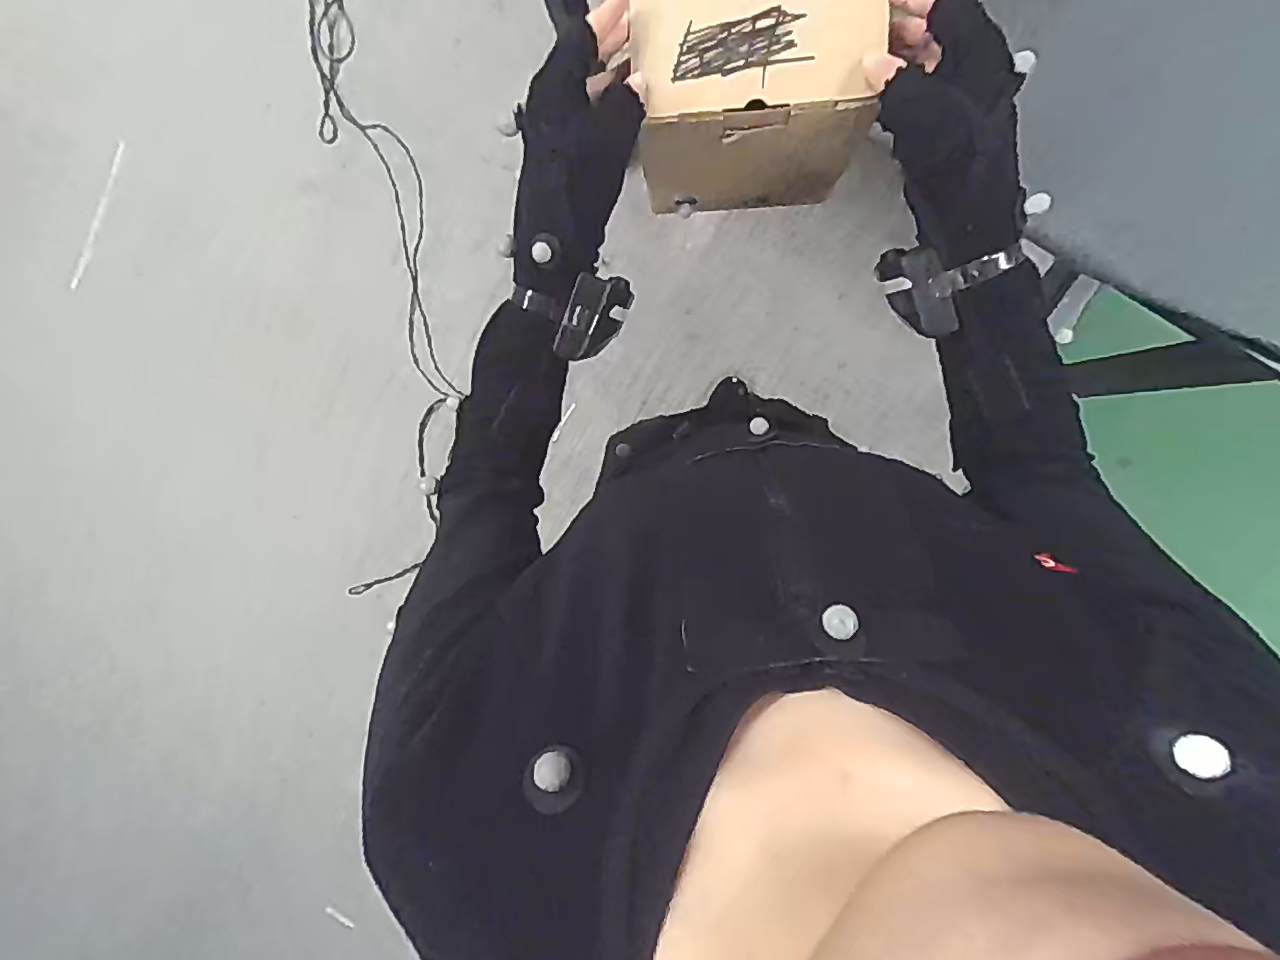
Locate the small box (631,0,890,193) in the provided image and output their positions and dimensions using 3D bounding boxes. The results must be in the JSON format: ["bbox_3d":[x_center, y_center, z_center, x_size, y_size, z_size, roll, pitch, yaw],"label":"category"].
[{"bbox_3d":[0.084,-0.343,0.421,0.168,0.176,0.179,-1,96,6],"label":"small box"}]
